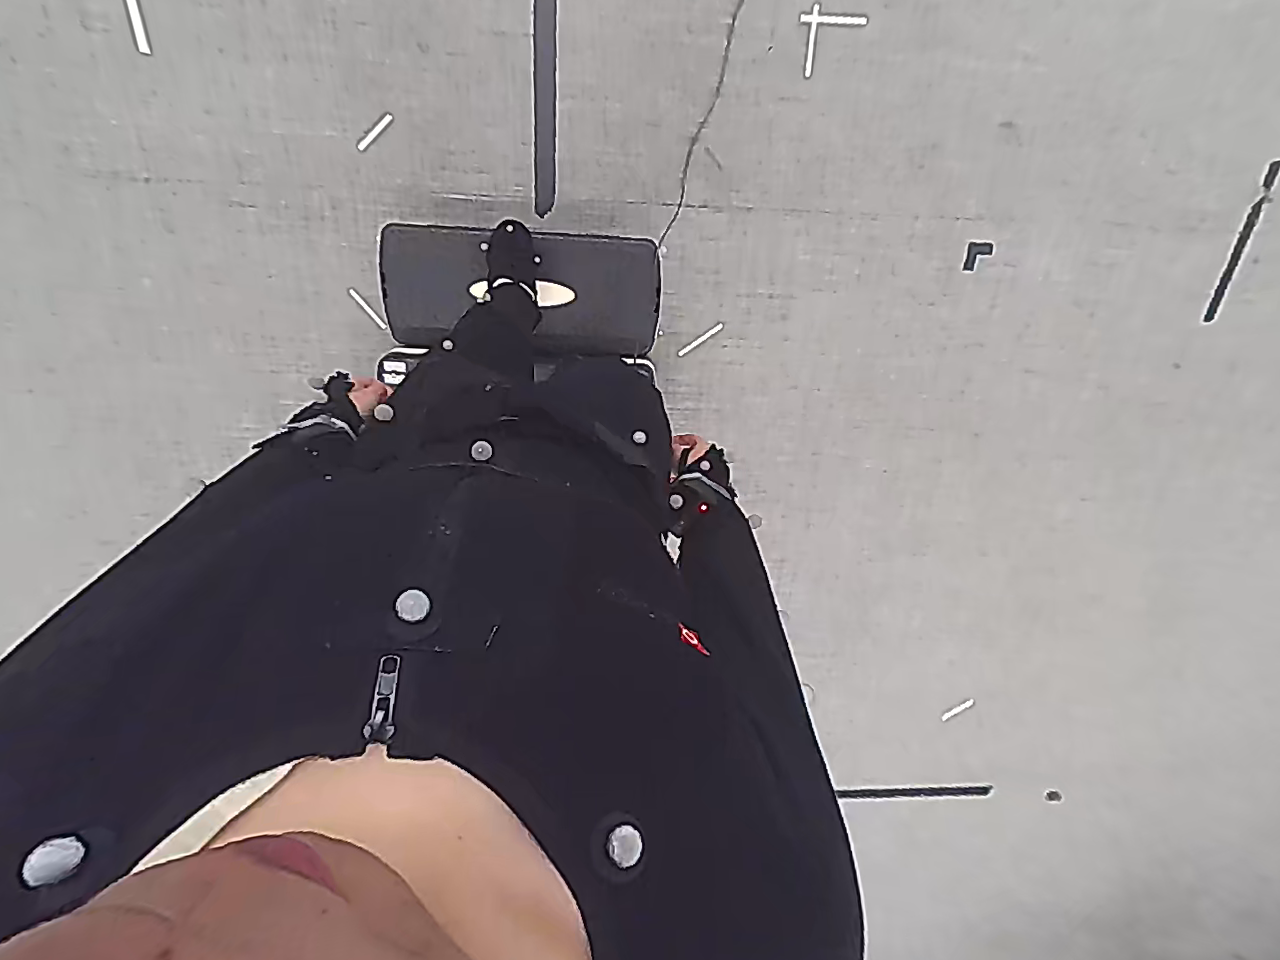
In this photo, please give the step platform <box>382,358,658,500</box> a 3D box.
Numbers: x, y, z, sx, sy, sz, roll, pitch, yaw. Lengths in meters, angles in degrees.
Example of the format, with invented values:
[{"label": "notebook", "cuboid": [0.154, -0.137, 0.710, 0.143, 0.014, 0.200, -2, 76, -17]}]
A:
[{"label": "step platform", "cuboid": [-0.296, -0.131, 1.404, 0.684, 0.204, 0.286, 6, 108, -4]}]
